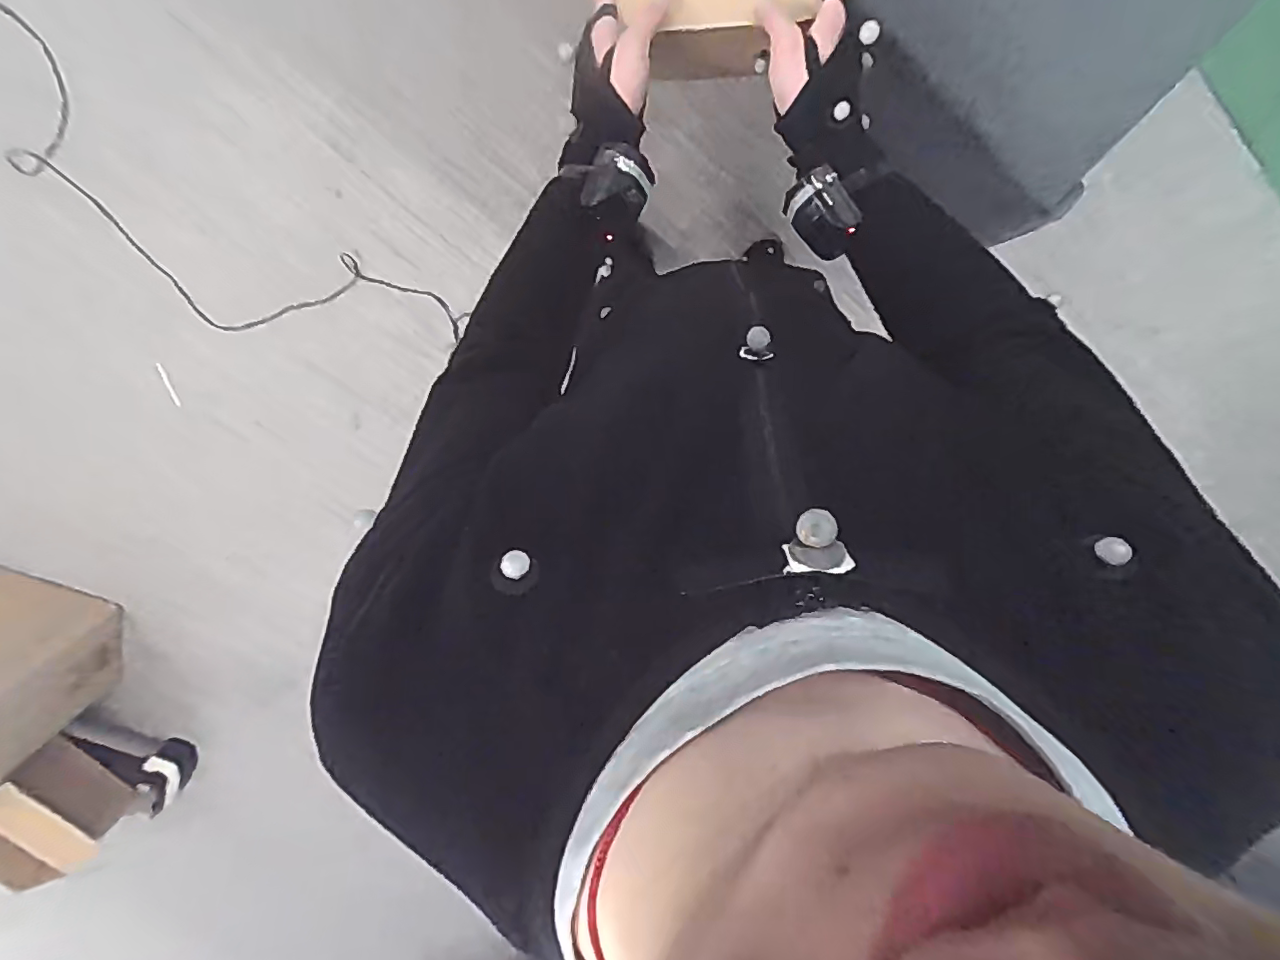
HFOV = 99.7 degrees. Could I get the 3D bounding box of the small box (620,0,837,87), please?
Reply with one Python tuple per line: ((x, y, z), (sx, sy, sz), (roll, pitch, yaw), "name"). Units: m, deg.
((0.073, -0.477, 0.483), (0.179, 0.176, 0.168), (-1, 112, 6), "small box")
